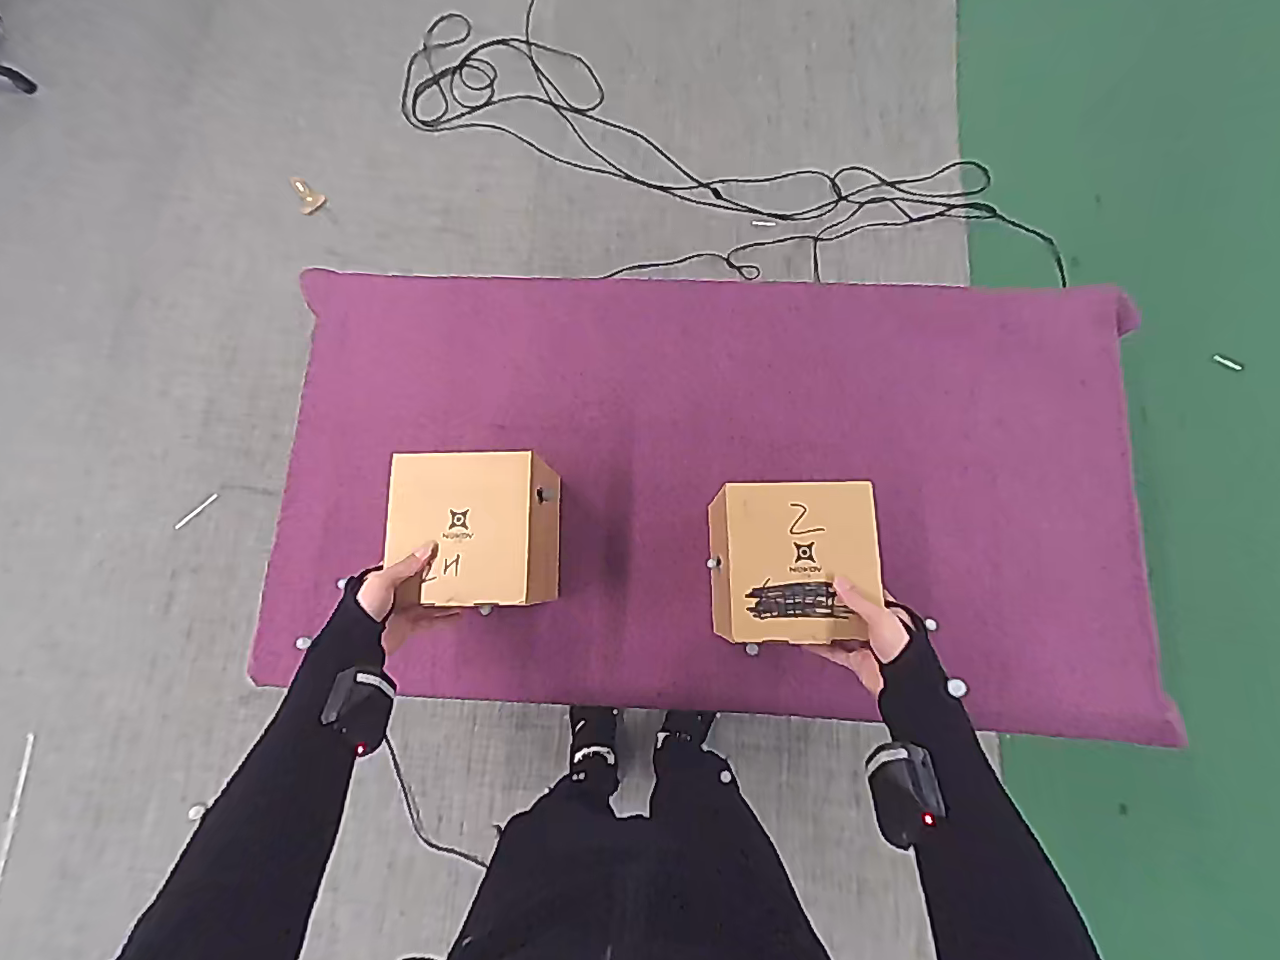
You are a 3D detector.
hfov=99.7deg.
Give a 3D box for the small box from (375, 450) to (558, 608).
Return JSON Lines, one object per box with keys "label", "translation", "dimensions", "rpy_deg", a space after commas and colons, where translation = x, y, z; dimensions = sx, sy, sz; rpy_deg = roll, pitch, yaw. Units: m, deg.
{"label": "small box", "translation": [-0.202, 0.067, 0.678], "dimensions": [0.168, 0.176, 0.179], "rpy_deg": [0, 80, 3]}
